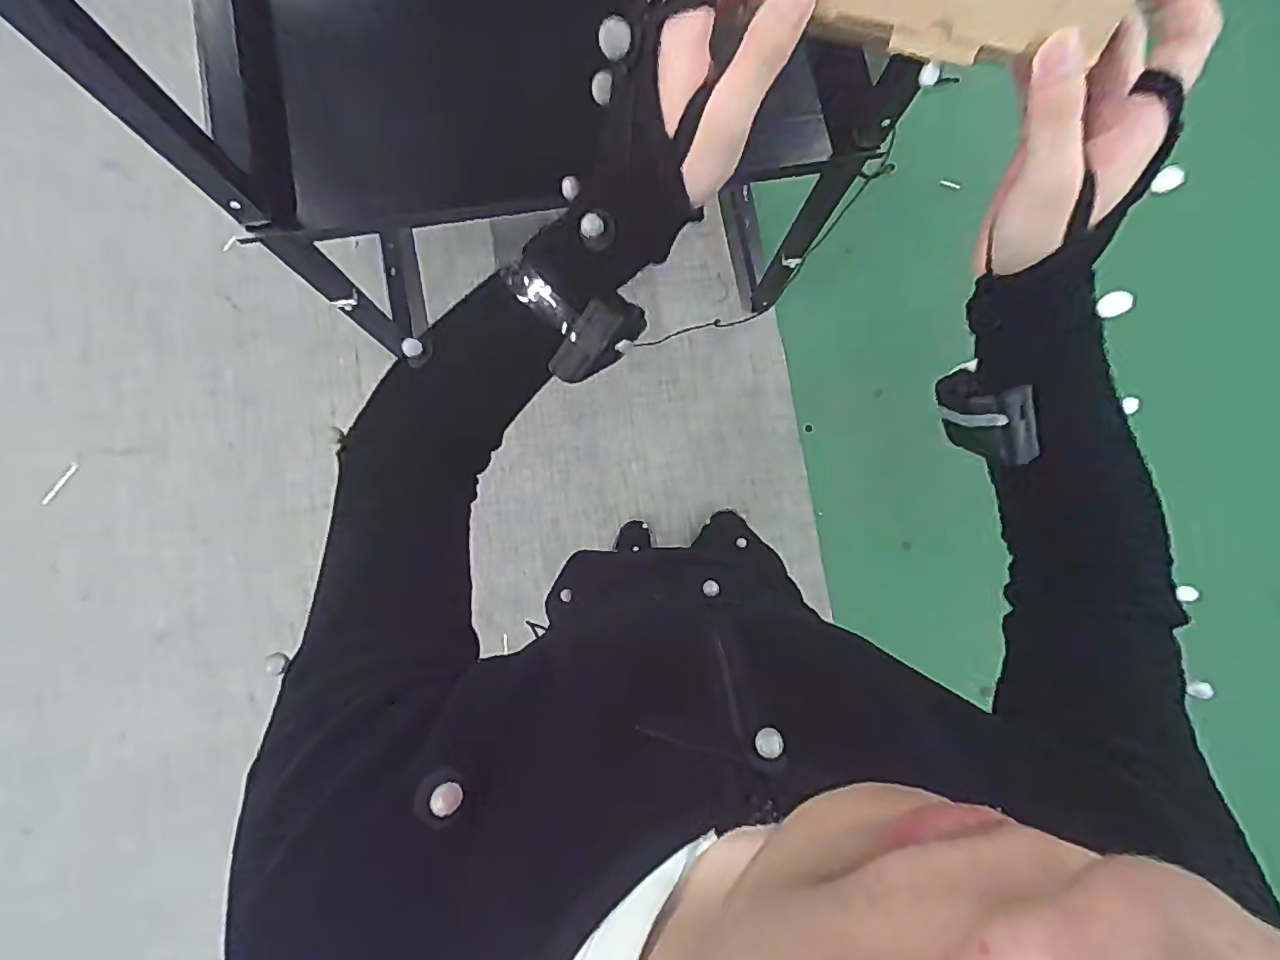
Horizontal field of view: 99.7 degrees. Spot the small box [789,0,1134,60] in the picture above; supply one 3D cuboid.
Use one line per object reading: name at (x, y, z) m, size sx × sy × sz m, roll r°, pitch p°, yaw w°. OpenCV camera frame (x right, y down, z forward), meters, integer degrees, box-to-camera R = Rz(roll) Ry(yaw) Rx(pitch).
small box at (0.156, -0.329, 0.255) m, size 0.168 × 0.179 × 0.176 m, roll 7°, pitch 40°, yaw -6°
